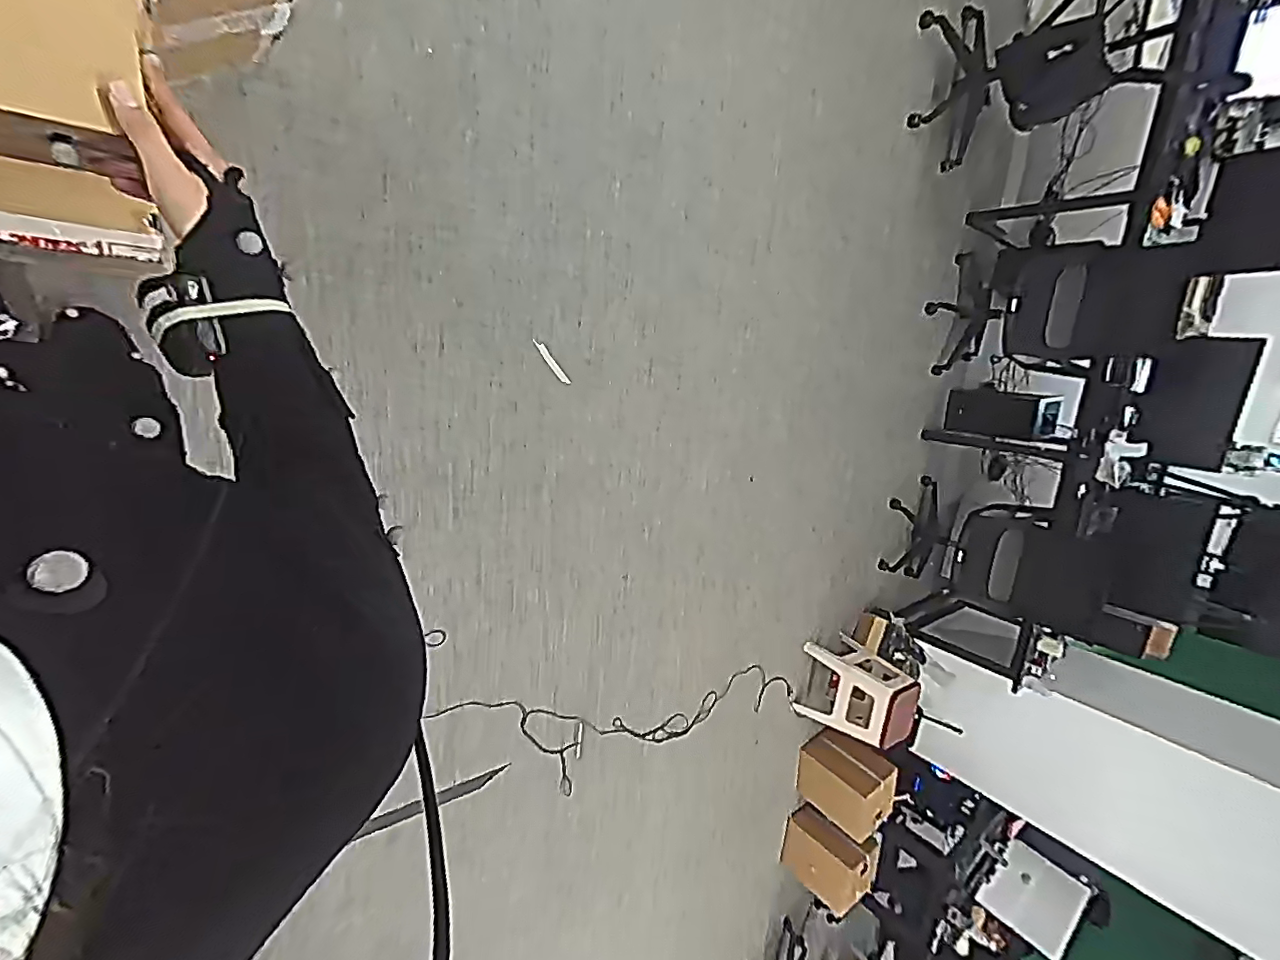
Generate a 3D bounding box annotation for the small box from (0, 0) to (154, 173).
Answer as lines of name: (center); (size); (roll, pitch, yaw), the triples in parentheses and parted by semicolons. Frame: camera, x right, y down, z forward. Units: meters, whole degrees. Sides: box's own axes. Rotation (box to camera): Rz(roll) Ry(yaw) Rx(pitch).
small box: (-0.442, -0.314, 0.345); (0.179, 0.176, 0.168); (-9, 109, -41)
